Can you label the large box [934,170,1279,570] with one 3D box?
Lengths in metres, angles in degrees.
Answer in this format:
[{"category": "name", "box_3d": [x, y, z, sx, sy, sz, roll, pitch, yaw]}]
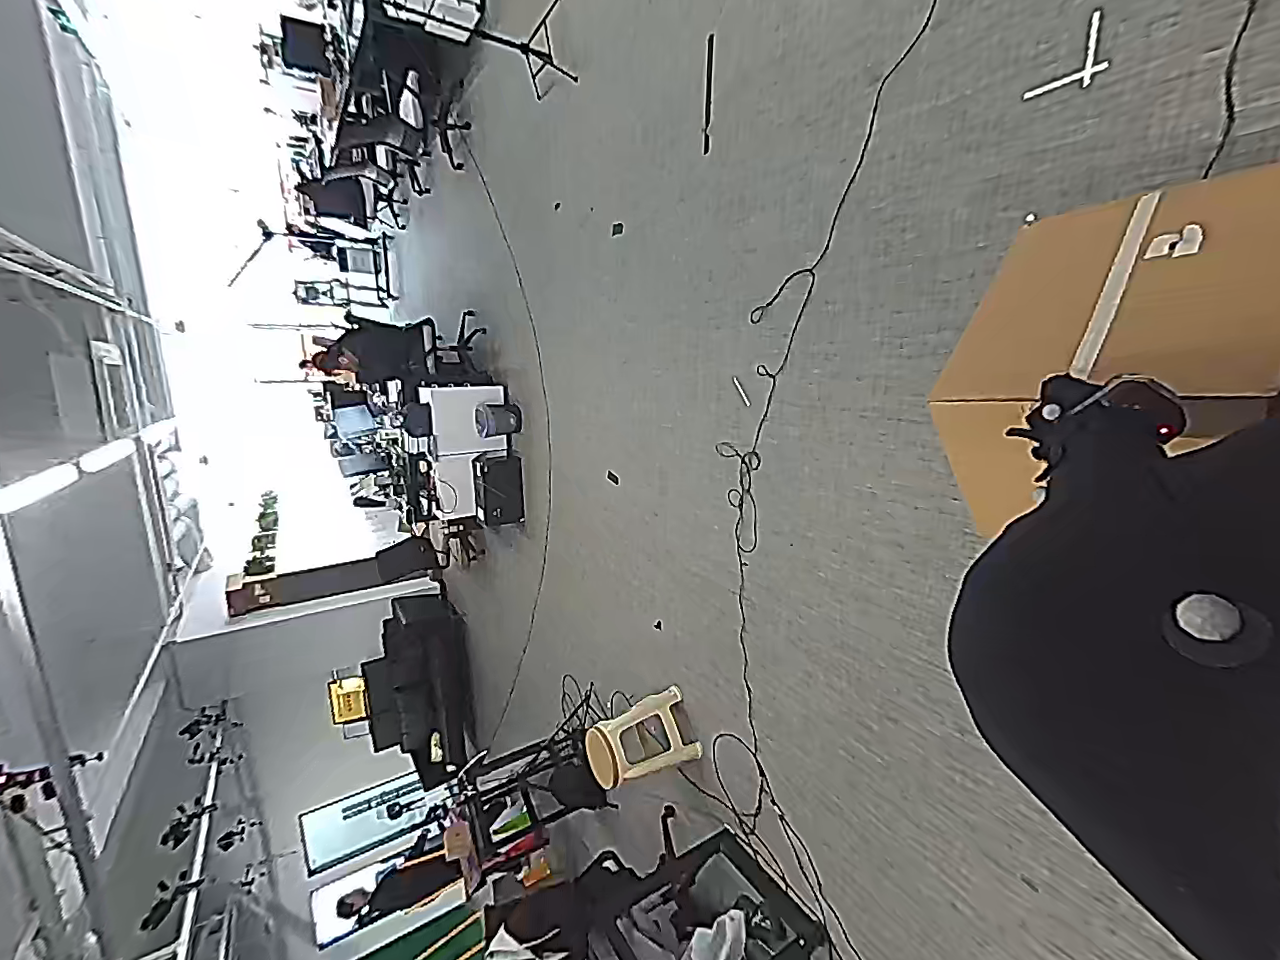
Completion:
[{"category": "large box", "box_3d": [0.686, -0.142, 0.764, 0.320, 0.408, 0.320, 10, 147, 52]}]
